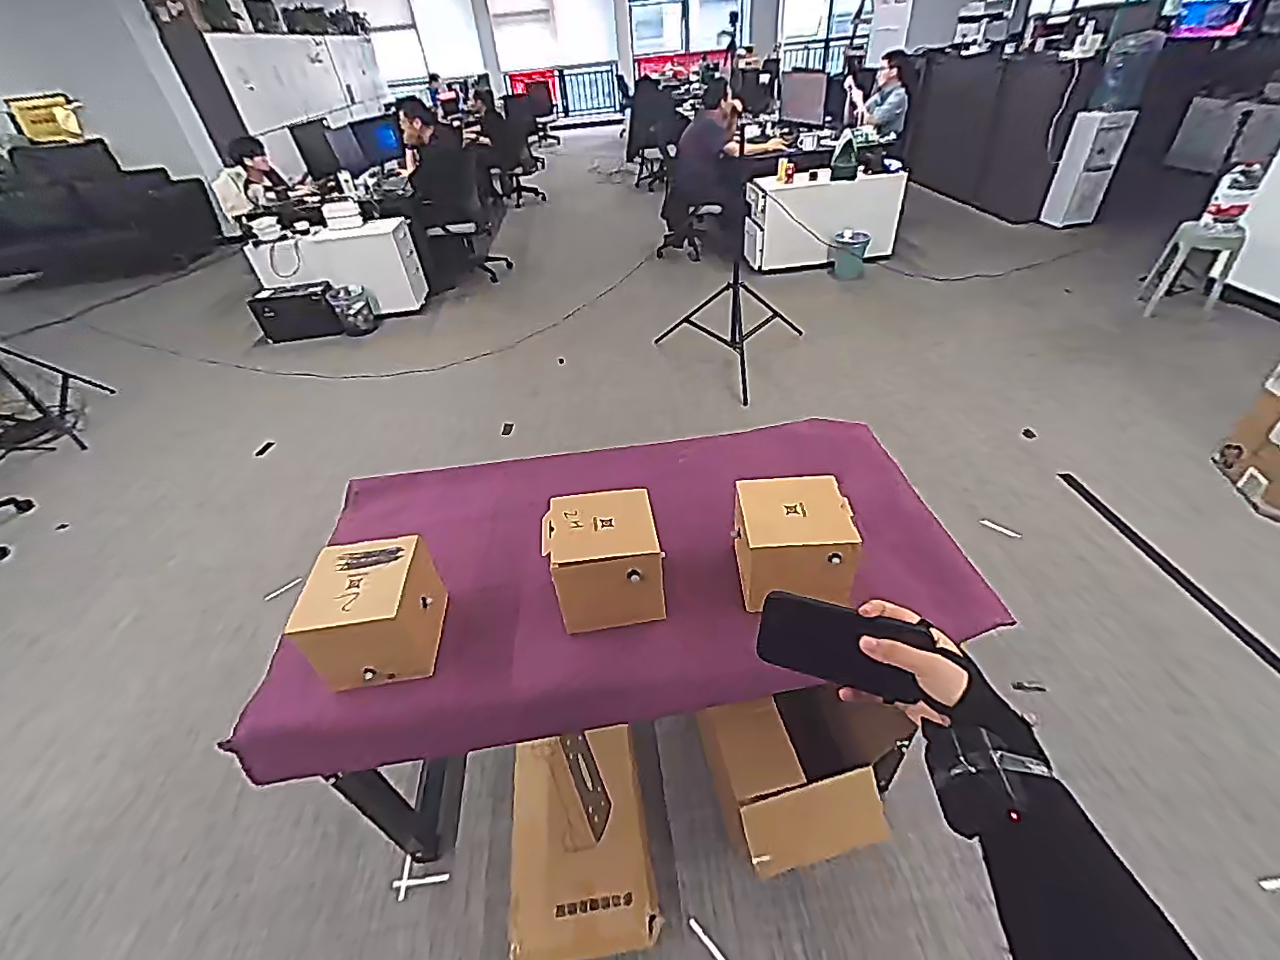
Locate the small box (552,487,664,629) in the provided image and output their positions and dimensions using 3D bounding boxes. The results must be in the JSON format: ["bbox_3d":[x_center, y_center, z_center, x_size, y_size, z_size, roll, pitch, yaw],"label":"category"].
[{"bbox_3d":[-0.053,0.137,0.947,0.179,0.176,0.168,-9,37,-3],"label":"small box"}]

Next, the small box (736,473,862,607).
[{"bbox_3d":[0.264,0.107,0.945,0.179,0.176,0.168,-4,40,3],"label":"small box"}]
